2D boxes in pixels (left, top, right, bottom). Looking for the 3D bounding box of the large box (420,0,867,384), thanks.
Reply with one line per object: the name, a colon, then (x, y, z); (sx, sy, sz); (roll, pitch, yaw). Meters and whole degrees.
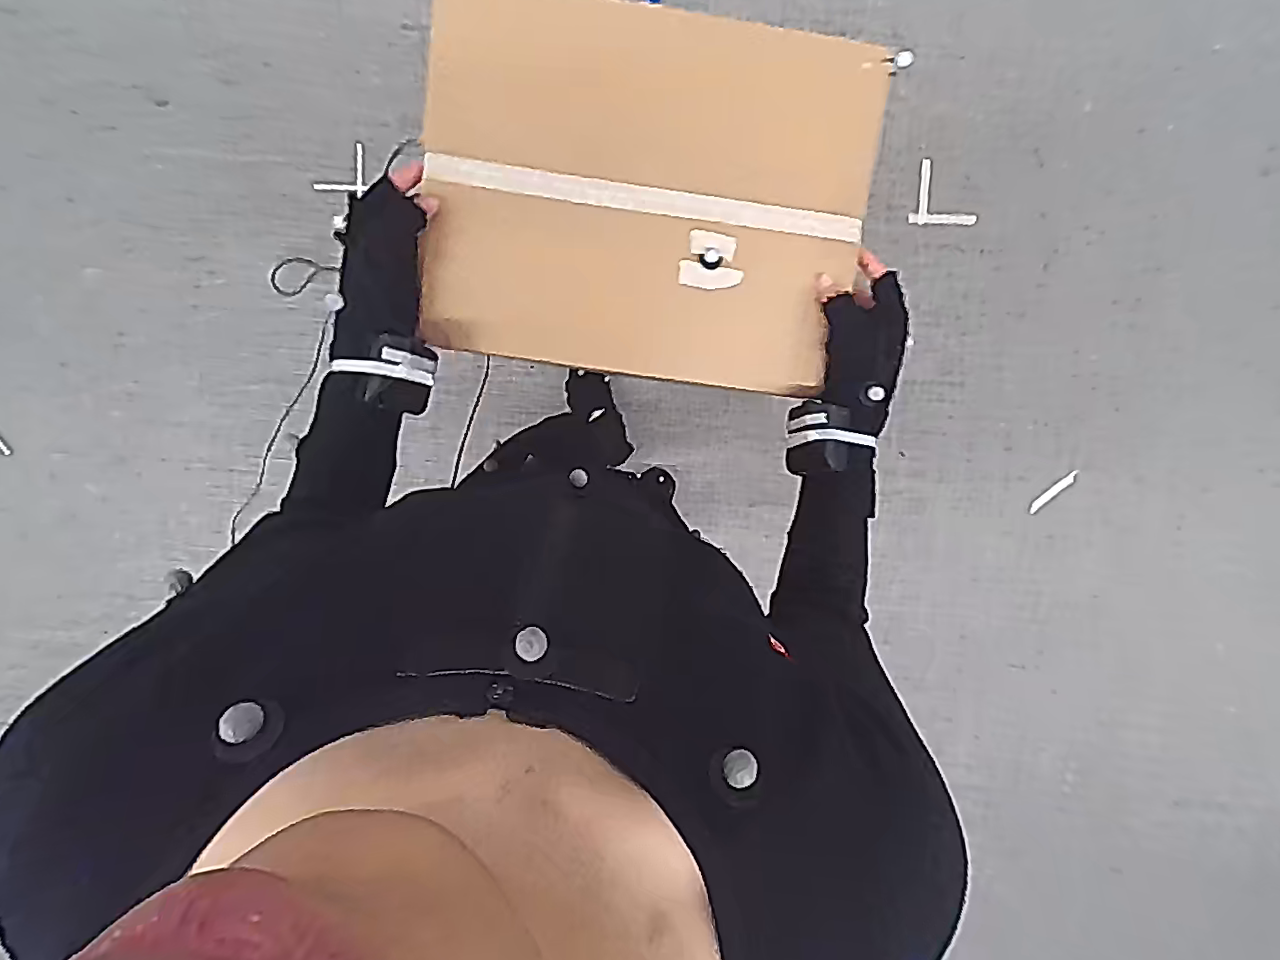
large box: (-0.010, -0.293, 0.657); (0.408, 0.320, 0.320); (7, 100, -3)
